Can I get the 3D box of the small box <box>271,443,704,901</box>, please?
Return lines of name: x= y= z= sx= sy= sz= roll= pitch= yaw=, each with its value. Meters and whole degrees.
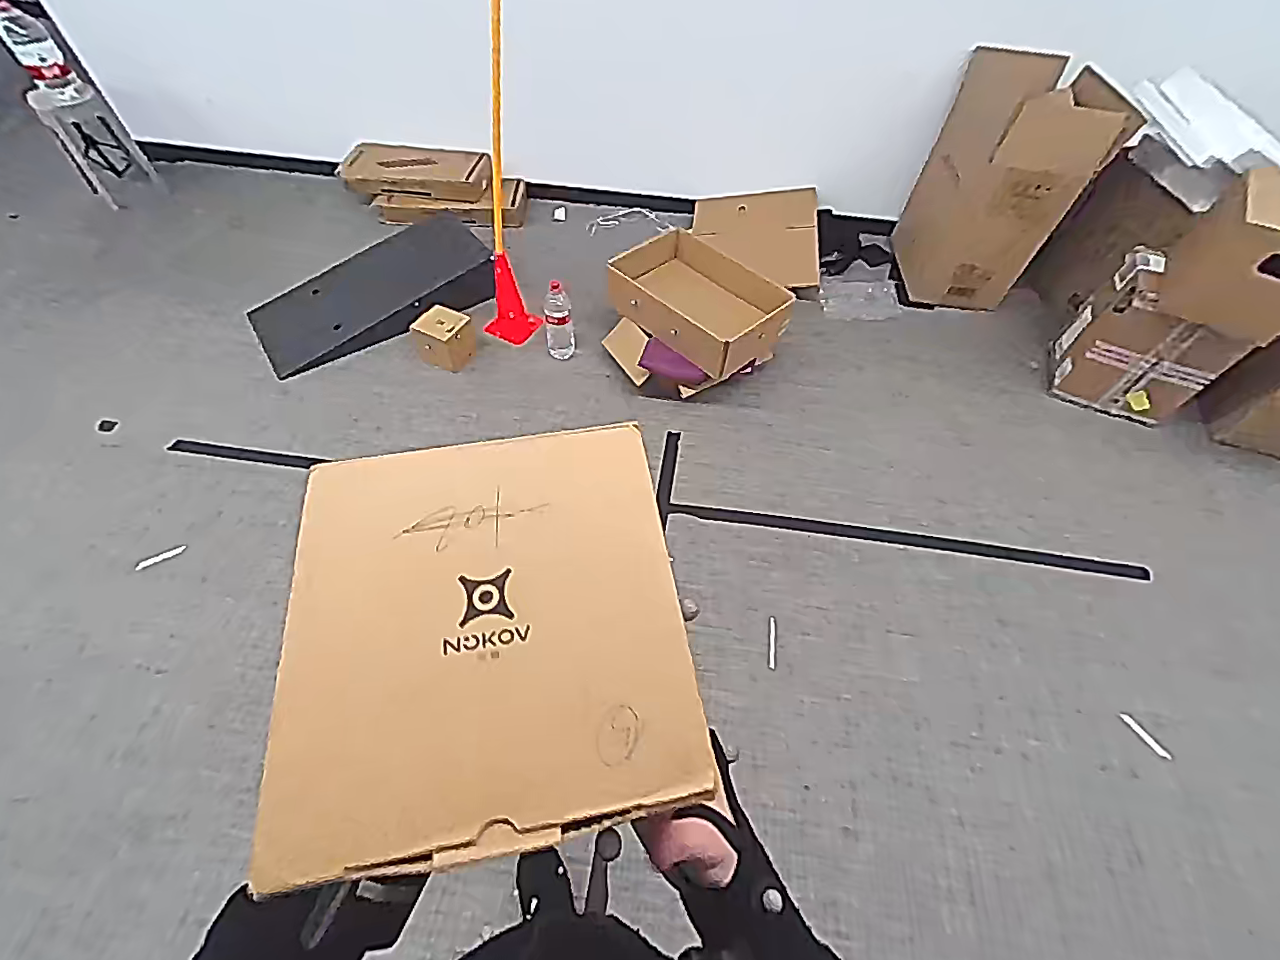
small box: x=-0.070 y=0.105 z=0.311 sx=0.168 sy=0.176 sz=0.179 roll=-8 pitch=59 yaw=-7
